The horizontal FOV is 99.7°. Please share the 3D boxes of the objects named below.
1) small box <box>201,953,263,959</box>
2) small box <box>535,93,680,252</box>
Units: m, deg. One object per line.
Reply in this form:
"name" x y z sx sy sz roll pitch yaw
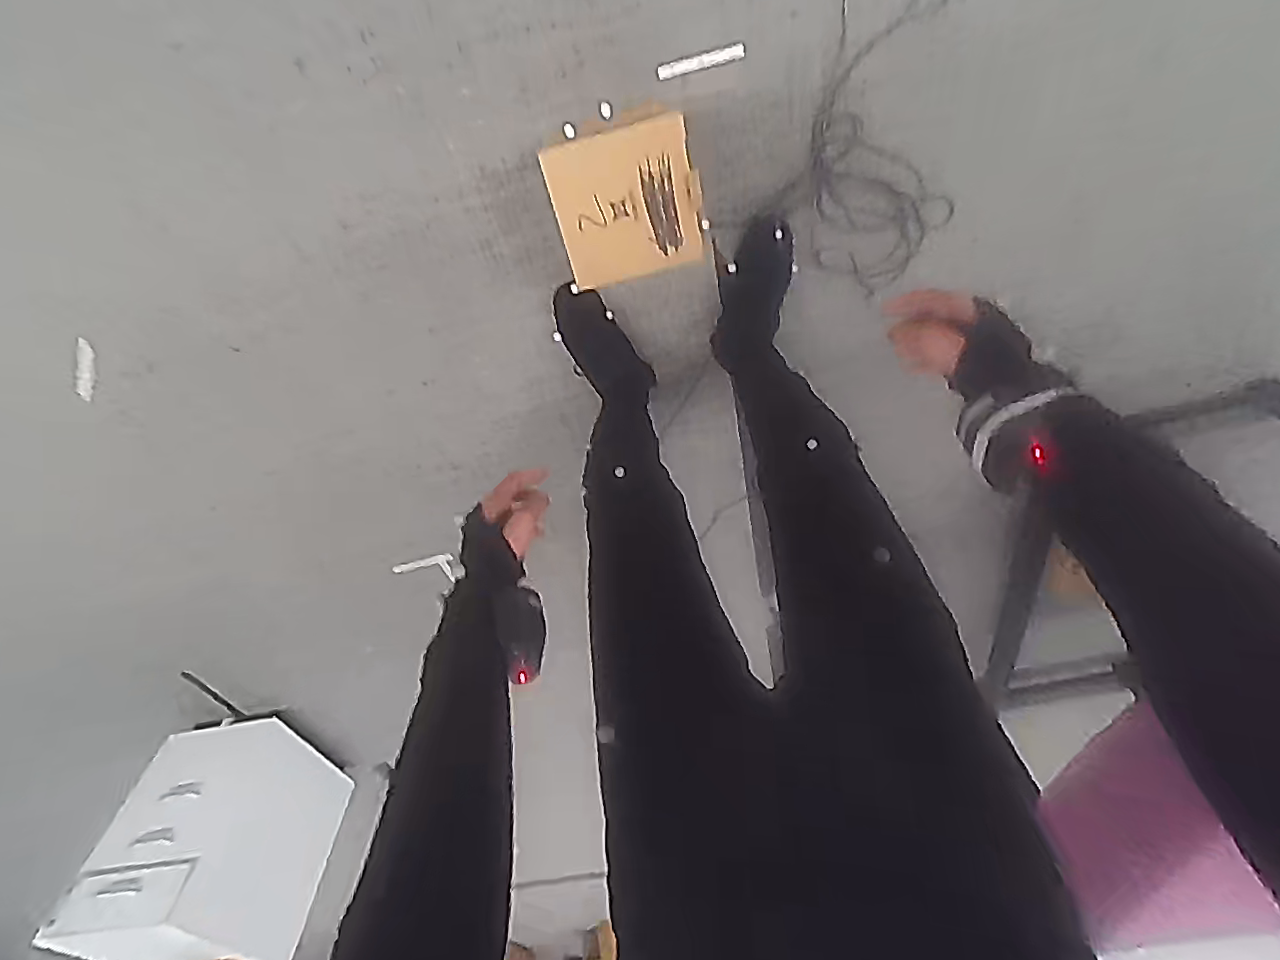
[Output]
"small box" -1.212 1.506 1.569 0.179 0.176 0.168 -12 128 7
"small box" -0.045 -0.480 0.843 0.179 0.176 0.168 -14 127 7
